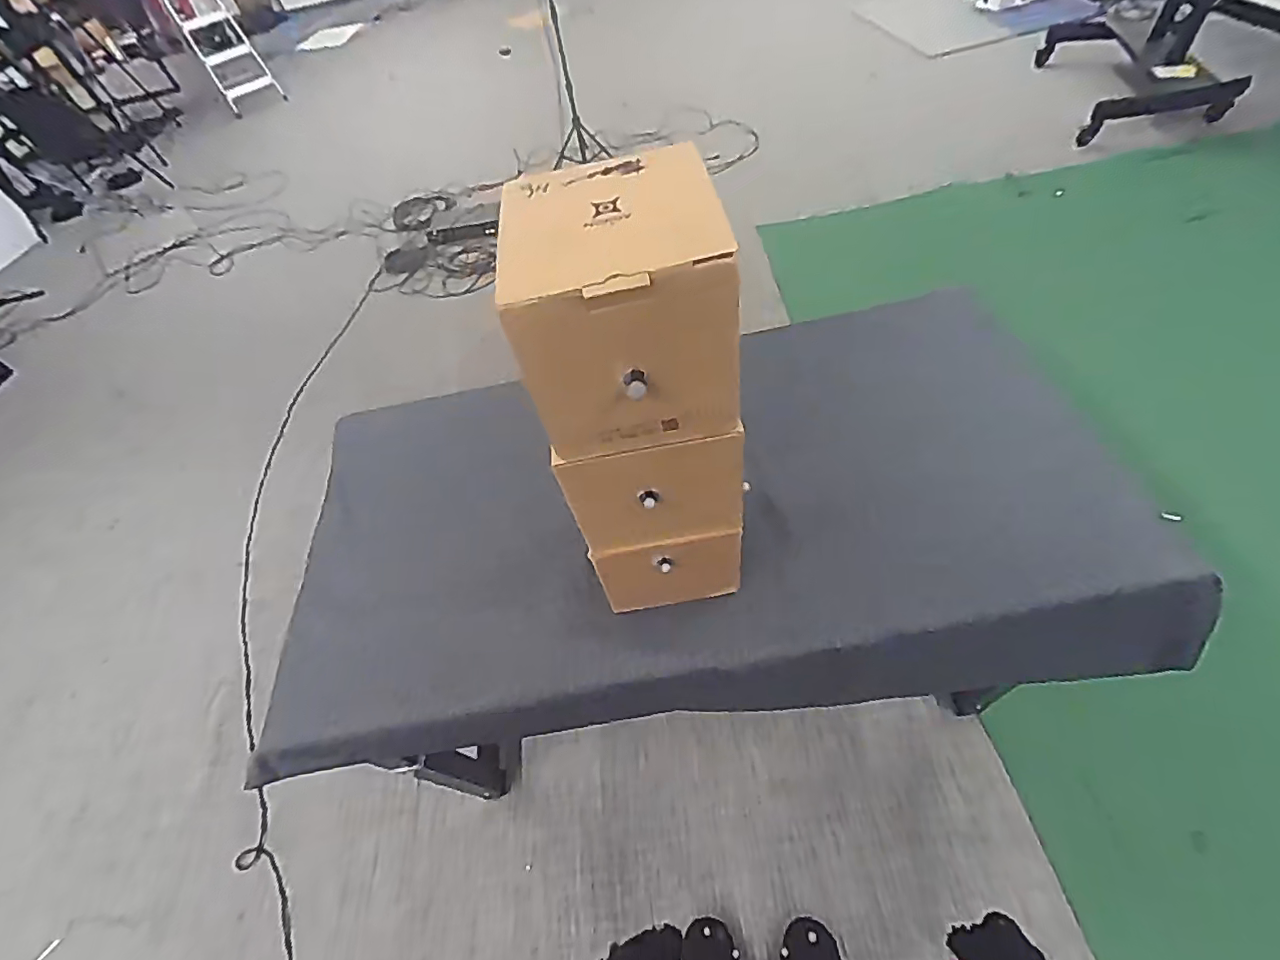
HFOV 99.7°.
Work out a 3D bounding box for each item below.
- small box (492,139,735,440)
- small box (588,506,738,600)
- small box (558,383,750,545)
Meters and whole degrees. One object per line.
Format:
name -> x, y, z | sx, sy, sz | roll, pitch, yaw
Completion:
small box -> -0.014, -0.150, 0.466 | 0.168, 0.176, 0.179 | -10, 55, 4
small box -> 0.030, 0.047, 0.724 | 0.179, 0.176, 0.168 | -10, 54, 2
small box -> 0.011, -0.049, 0.592 | 0.179, 0.176, 0.168 | -12, 55, 1
